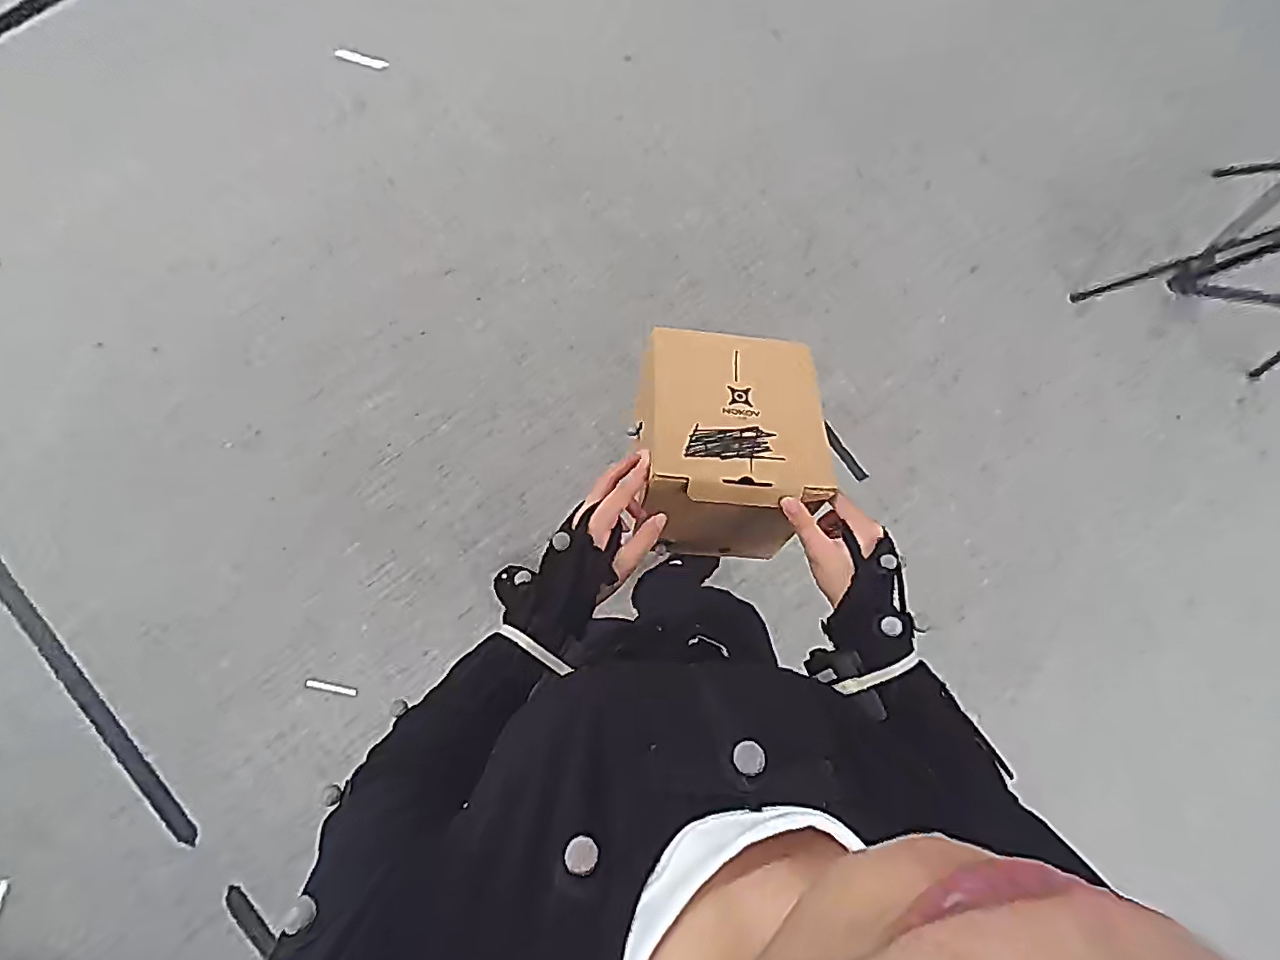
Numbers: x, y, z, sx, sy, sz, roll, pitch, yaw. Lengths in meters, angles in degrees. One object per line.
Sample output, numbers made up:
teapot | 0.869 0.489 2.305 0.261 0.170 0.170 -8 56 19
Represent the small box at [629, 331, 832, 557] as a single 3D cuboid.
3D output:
small box | 0.080 -0.029 0.573 0.168 0.176 0.179 4 60 -6
